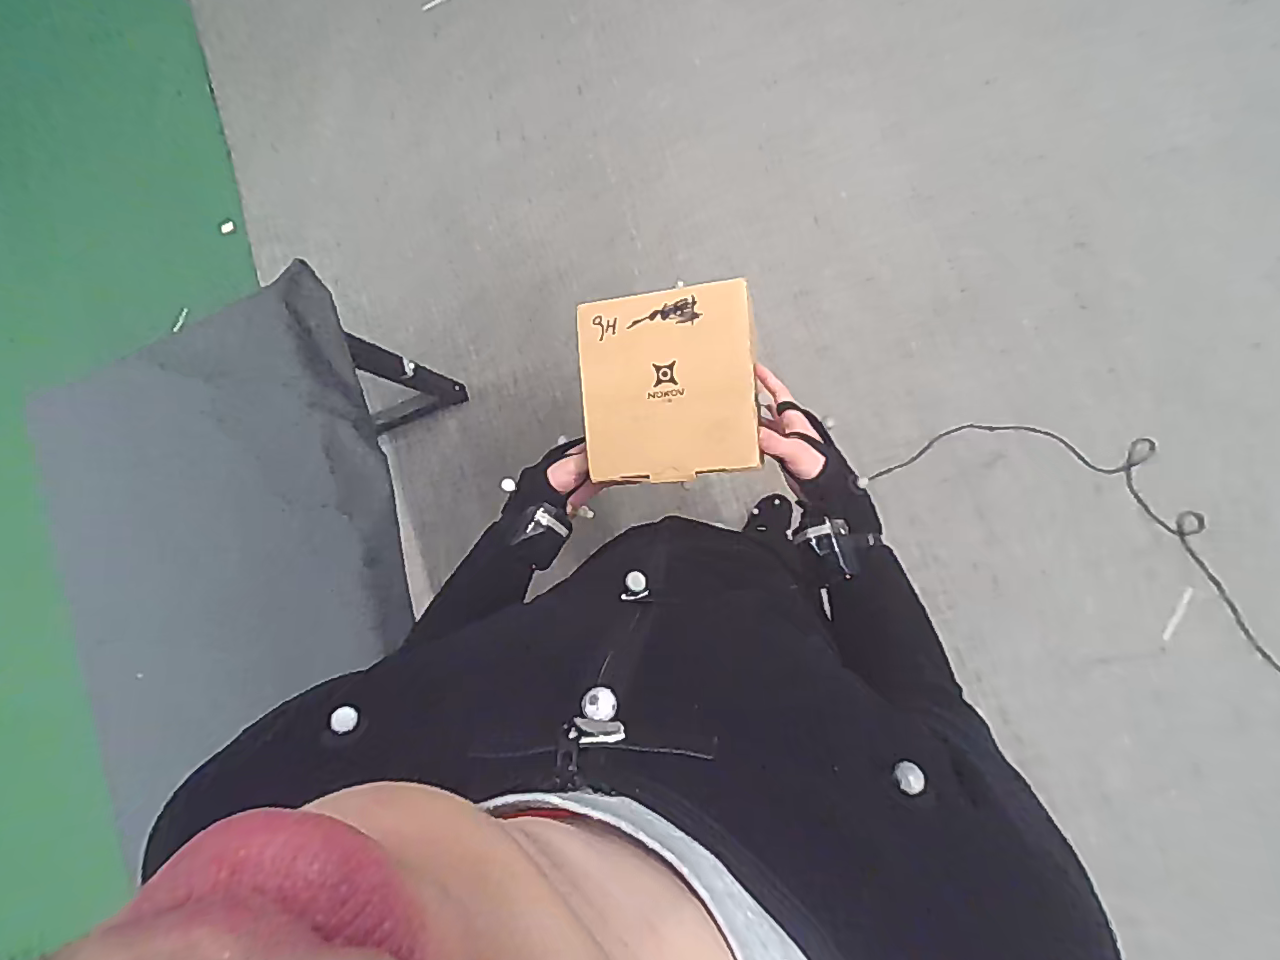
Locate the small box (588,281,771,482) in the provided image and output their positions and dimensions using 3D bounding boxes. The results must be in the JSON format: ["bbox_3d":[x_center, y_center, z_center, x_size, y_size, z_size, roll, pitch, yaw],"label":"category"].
[{"bbox_3d":[0.052,-0.092,0.581,0.168,0.176,0.179,-3,91,13],"label":"small box"}]
